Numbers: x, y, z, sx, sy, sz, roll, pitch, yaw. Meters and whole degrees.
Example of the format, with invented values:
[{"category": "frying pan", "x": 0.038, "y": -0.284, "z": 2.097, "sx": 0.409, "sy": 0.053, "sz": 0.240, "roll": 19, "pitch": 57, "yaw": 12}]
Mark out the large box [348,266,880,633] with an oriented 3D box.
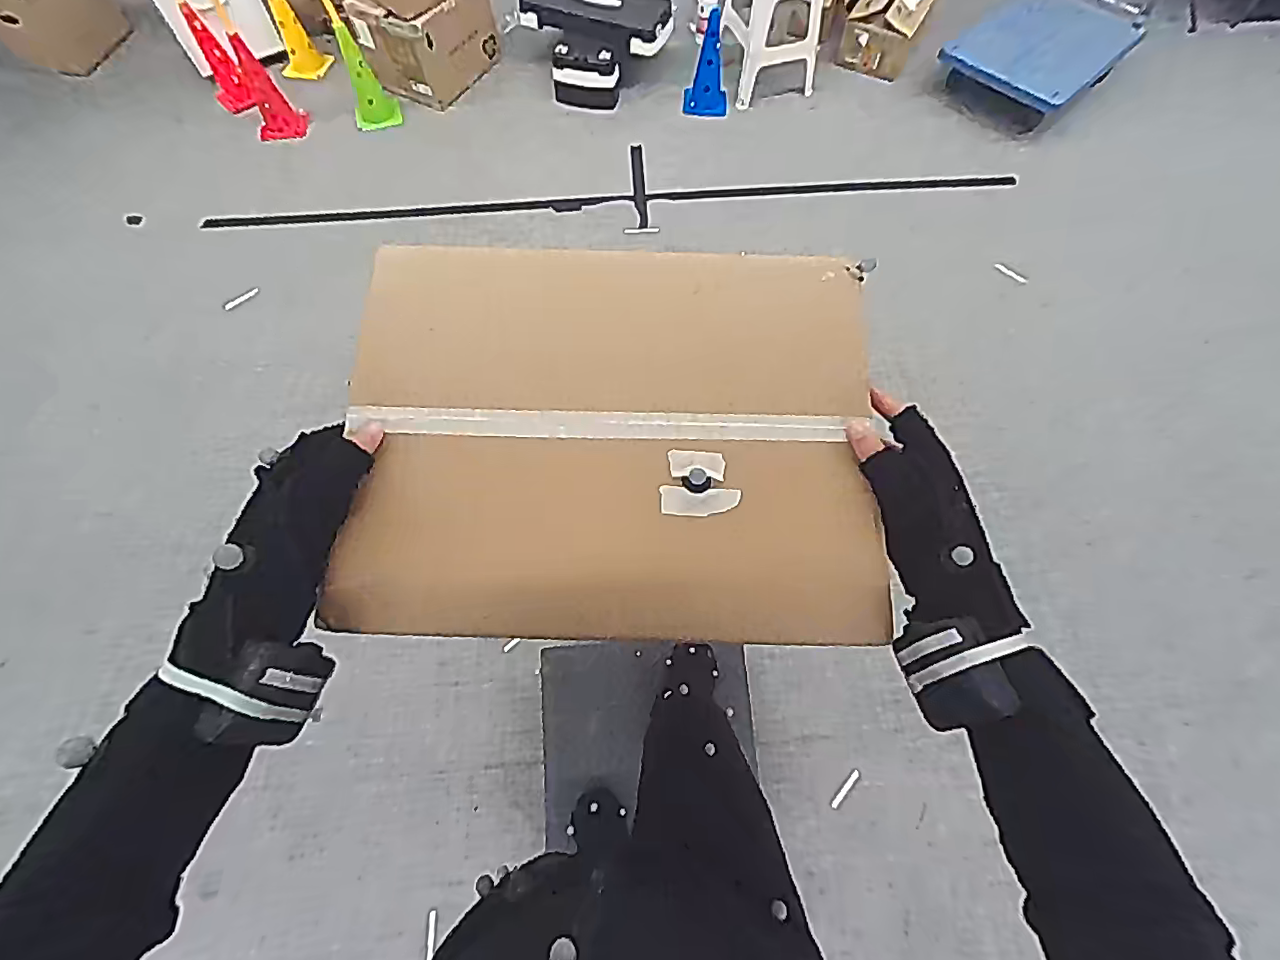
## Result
[{"category": "large box", "x": -0.020, "y": 0.001, "z": 0.581, "sx": 0.408, "sy": 0.320, "sz": 0.320, "roll": 2, "pitch": 75, "yaw": 0}]
